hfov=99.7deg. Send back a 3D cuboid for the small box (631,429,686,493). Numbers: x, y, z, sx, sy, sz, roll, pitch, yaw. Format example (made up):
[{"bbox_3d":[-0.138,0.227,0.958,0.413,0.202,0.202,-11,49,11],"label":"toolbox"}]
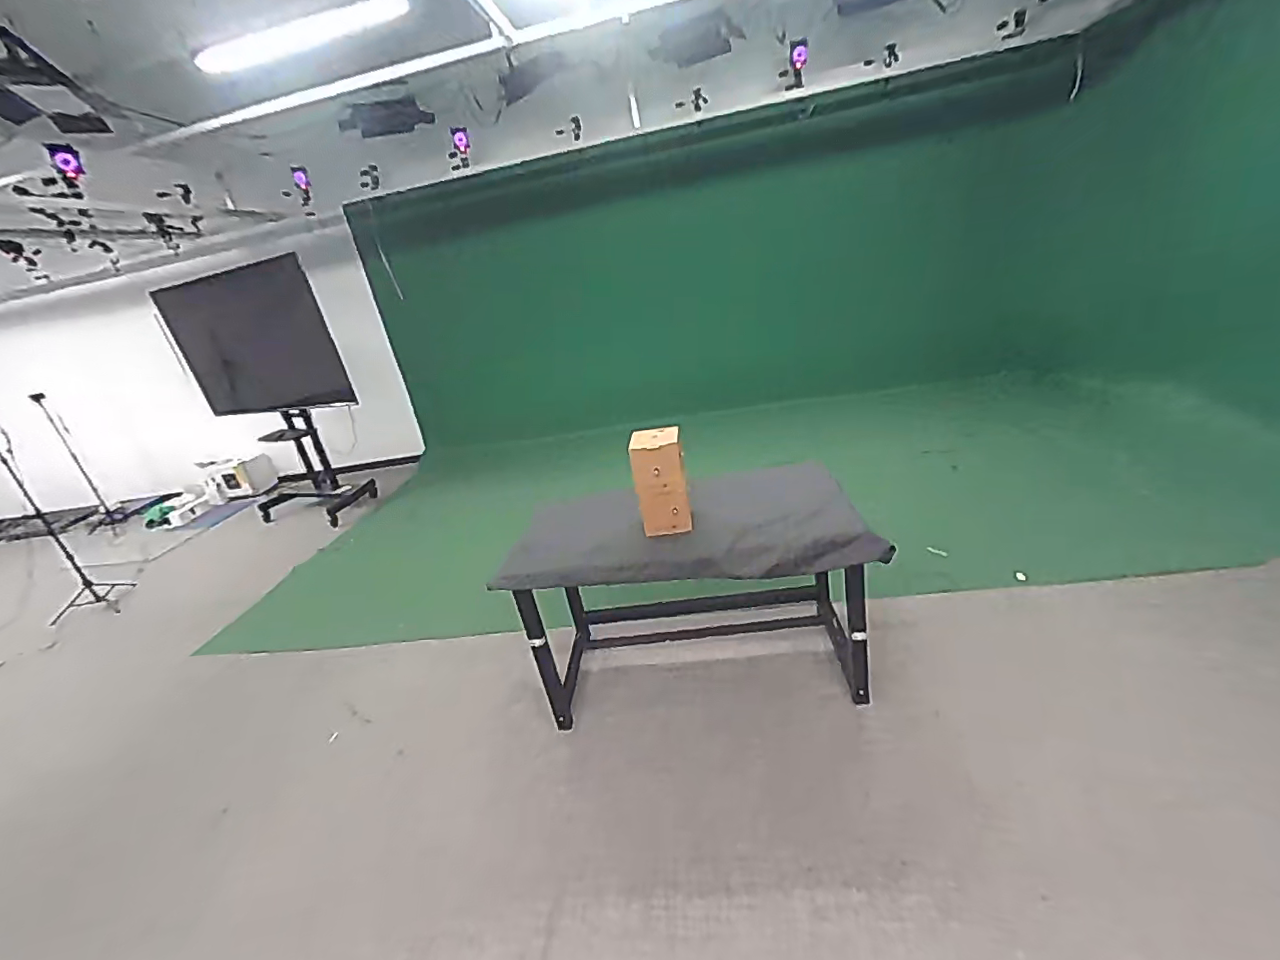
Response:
[{"bbox_3d":[0.070,-0.062,1.884,0.168,0.176,0.179,-6,24,8],"label":"small box"}]

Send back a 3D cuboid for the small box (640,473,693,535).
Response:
[{"bbox_3d":[0.099,0.089,1.941,0.168,0.176,0.179,-7,21,7],"label":"small box"}]
